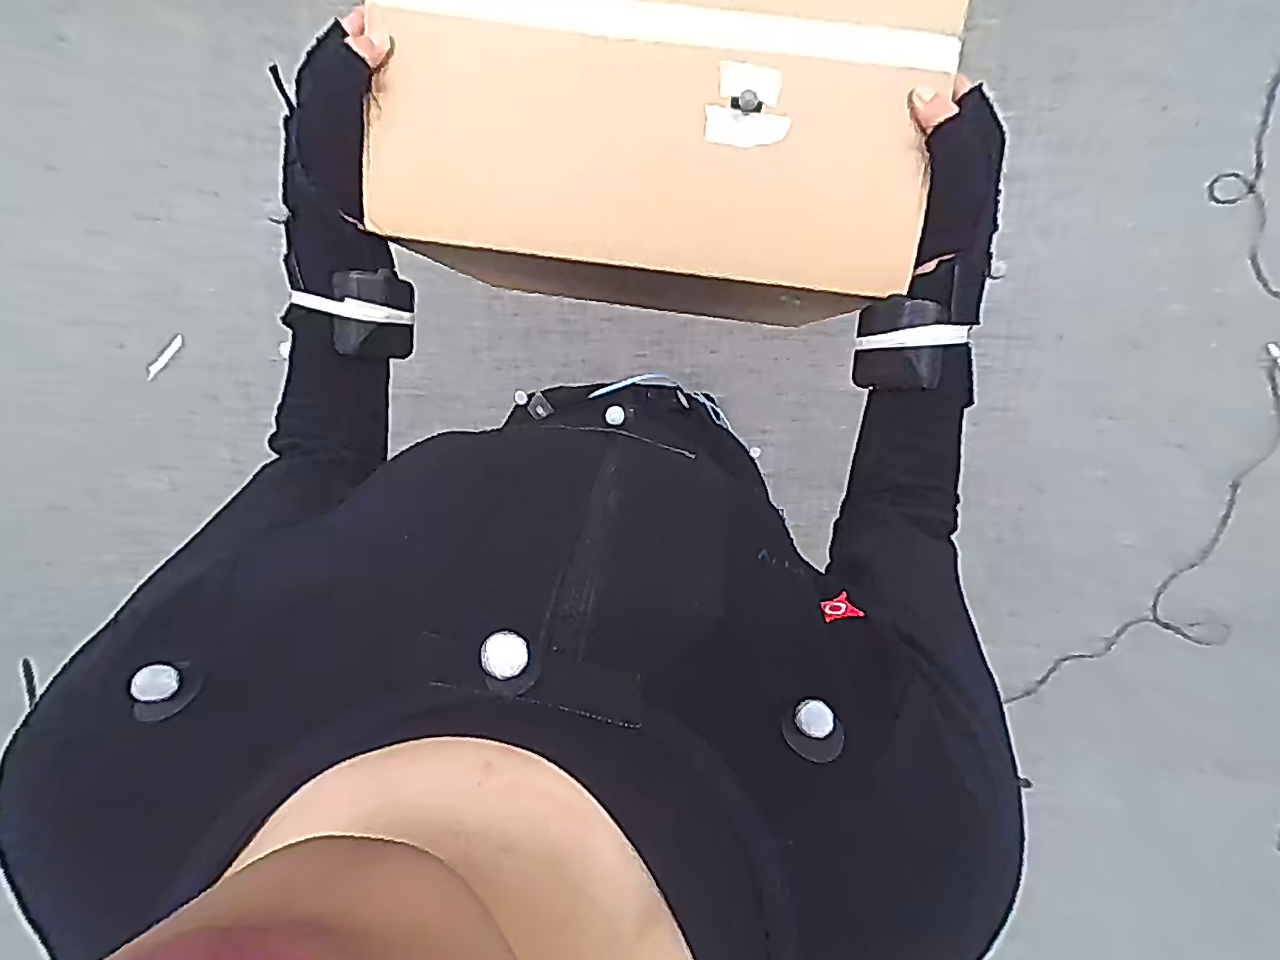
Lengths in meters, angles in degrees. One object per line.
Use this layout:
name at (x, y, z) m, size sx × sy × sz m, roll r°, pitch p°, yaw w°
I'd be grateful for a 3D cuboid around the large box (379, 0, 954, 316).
large box at (0.017, -0.350, 0.524) m, size 0.408 × 0.320 × 0.320 m, roll 7°, pitch 103°, yaw 0°
